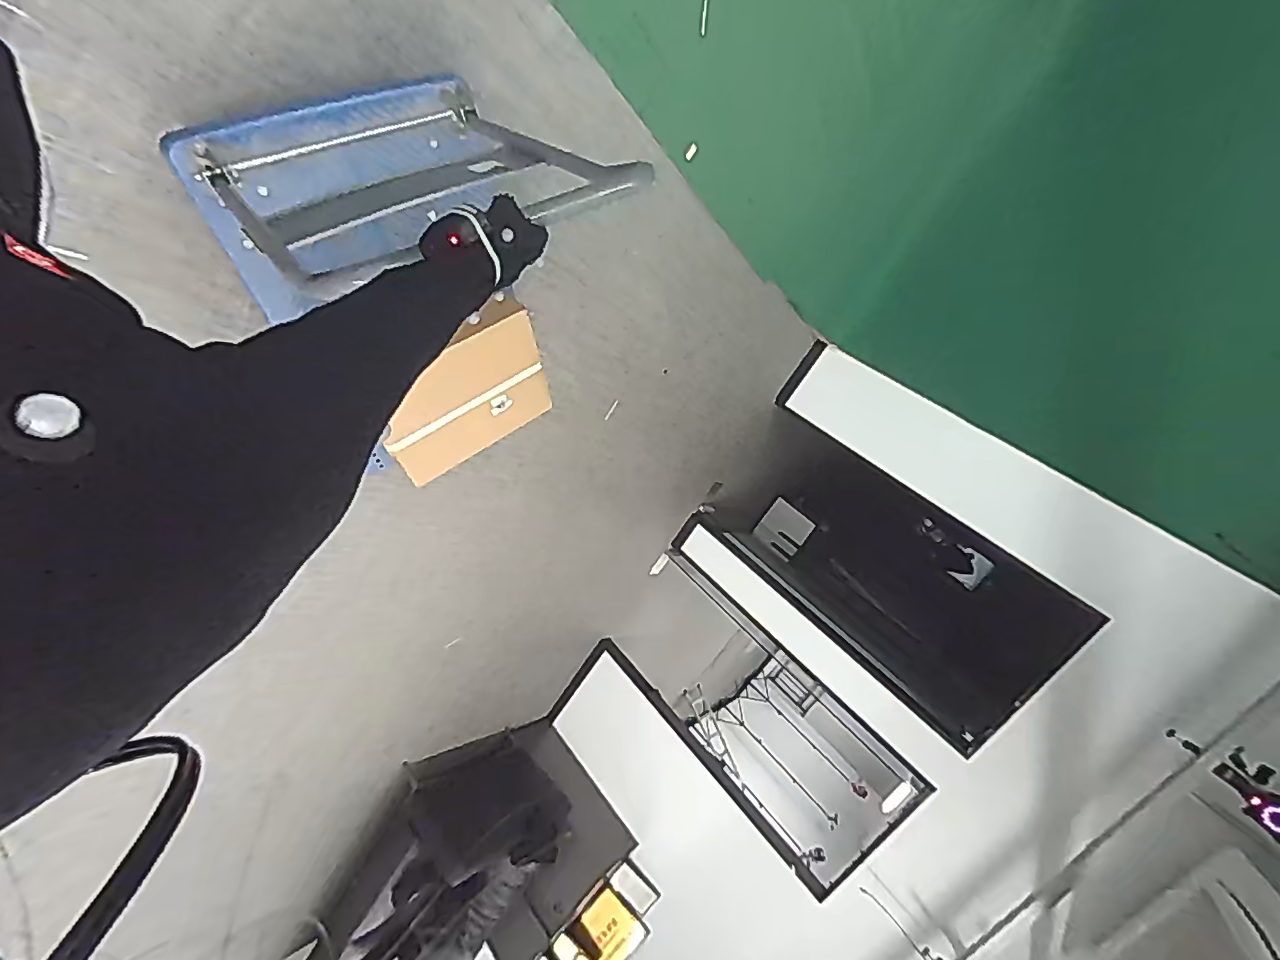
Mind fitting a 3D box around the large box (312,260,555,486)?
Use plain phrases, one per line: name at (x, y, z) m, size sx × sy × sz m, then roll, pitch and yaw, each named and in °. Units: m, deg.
large box at (-0.485, -0.269, 1.325) m, size 0.408 × 0.320 × 0.320 m, roll -37°, pitch 149°, yaw -21°
